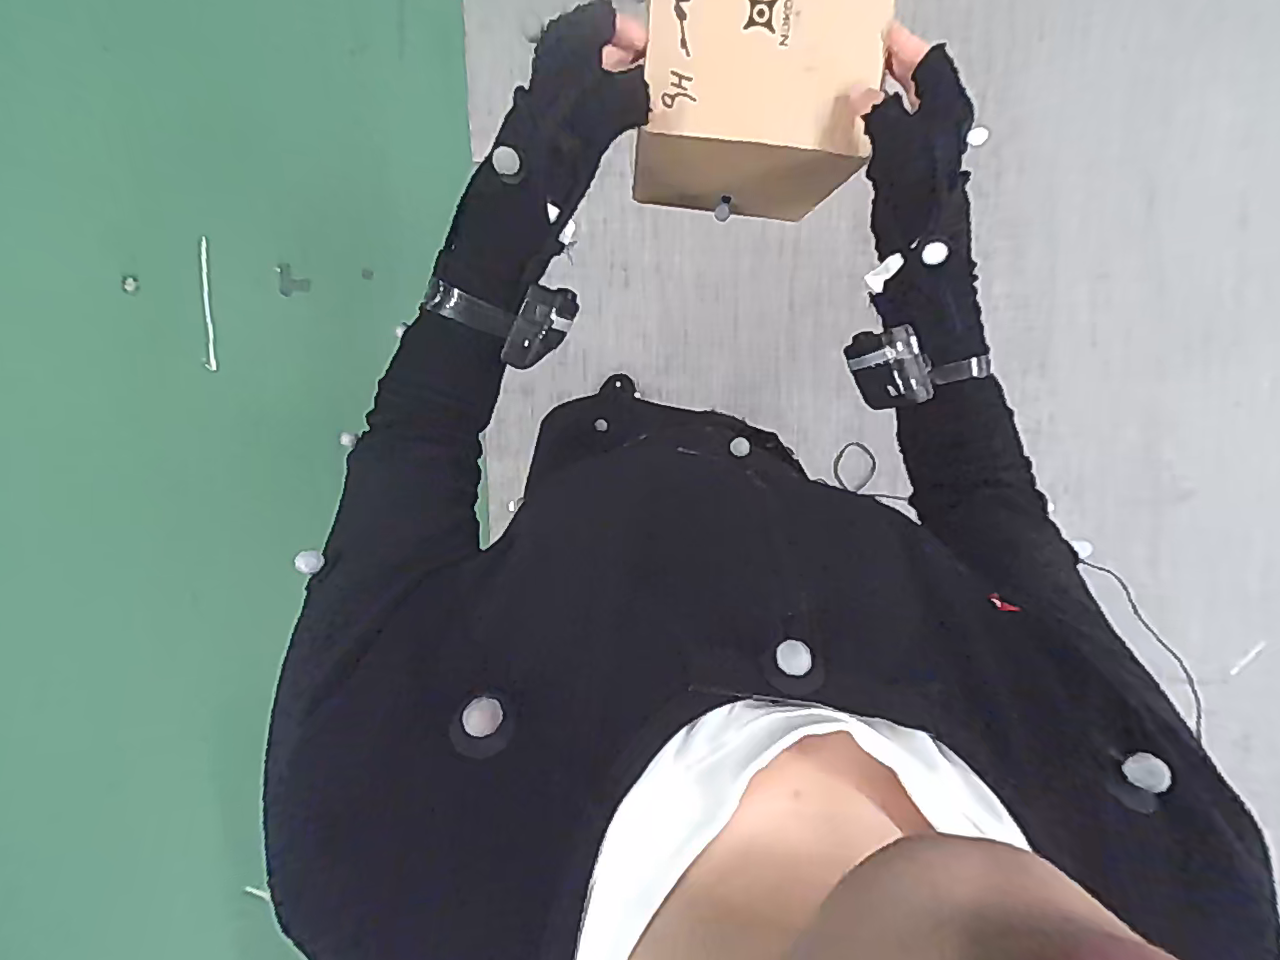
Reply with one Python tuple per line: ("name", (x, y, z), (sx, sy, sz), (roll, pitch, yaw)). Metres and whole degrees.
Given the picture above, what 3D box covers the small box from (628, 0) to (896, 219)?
("small box", (0.088, -0.339, 0.460), (0.179, 0.176, 0.168), (5, 99, -5))
